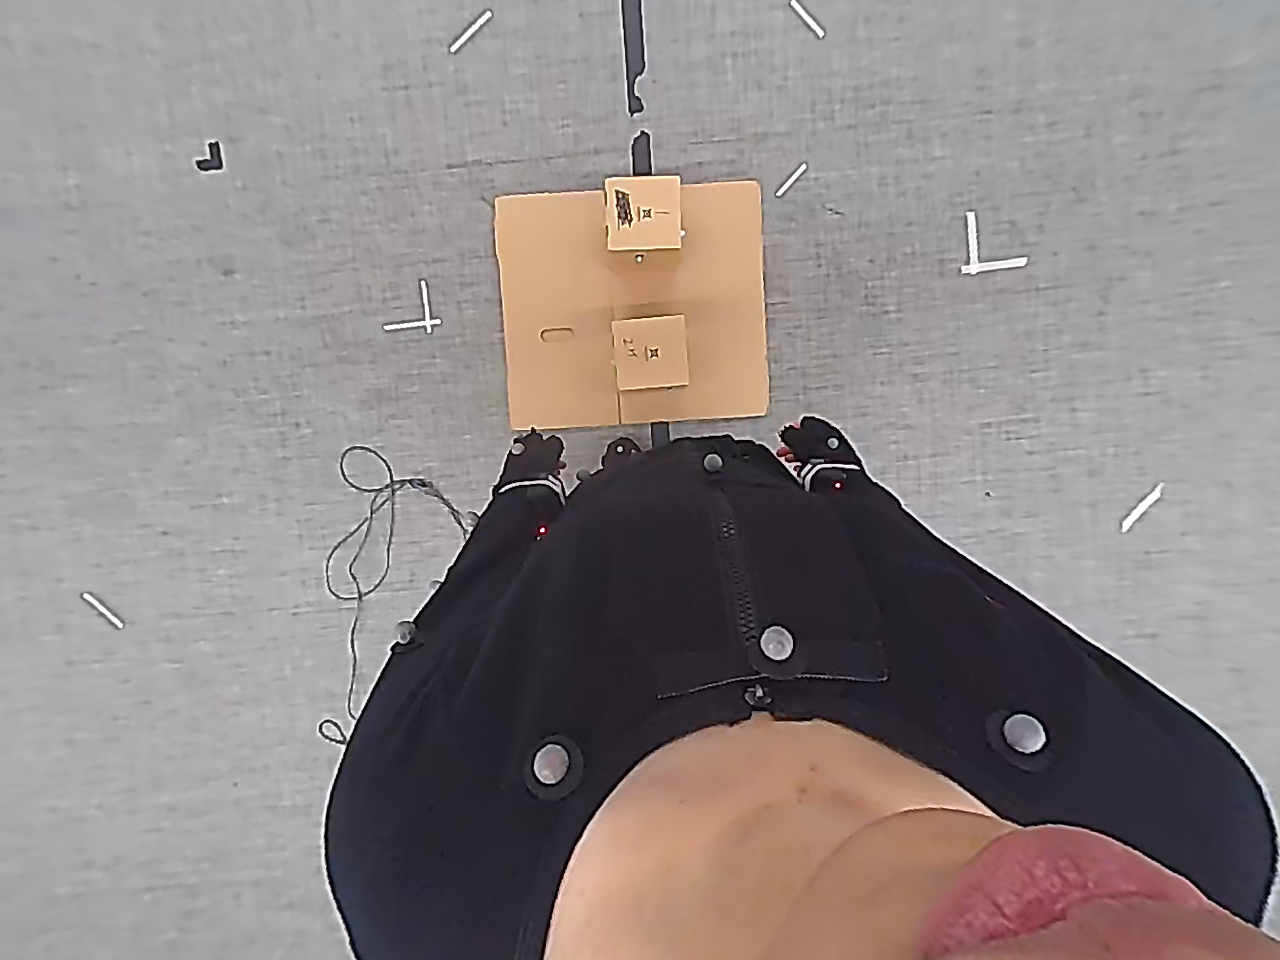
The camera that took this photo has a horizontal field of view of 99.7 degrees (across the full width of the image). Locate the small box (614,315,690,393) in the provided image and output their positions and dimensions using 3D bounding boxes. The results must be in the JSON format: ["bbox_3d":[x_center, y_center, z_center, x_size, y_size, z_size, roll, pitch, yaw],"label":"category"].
[{"bbox_3d":[0.030,-0.315,1.372,0.179,0.176,0.168,-4,95,2],"label":"small box"}]

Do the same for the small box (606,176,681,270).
[{"bbox_3d":[0.010,-0.631,1.346,0.179,0.176,0.168,-2,95,1],"label":"small box"}]
